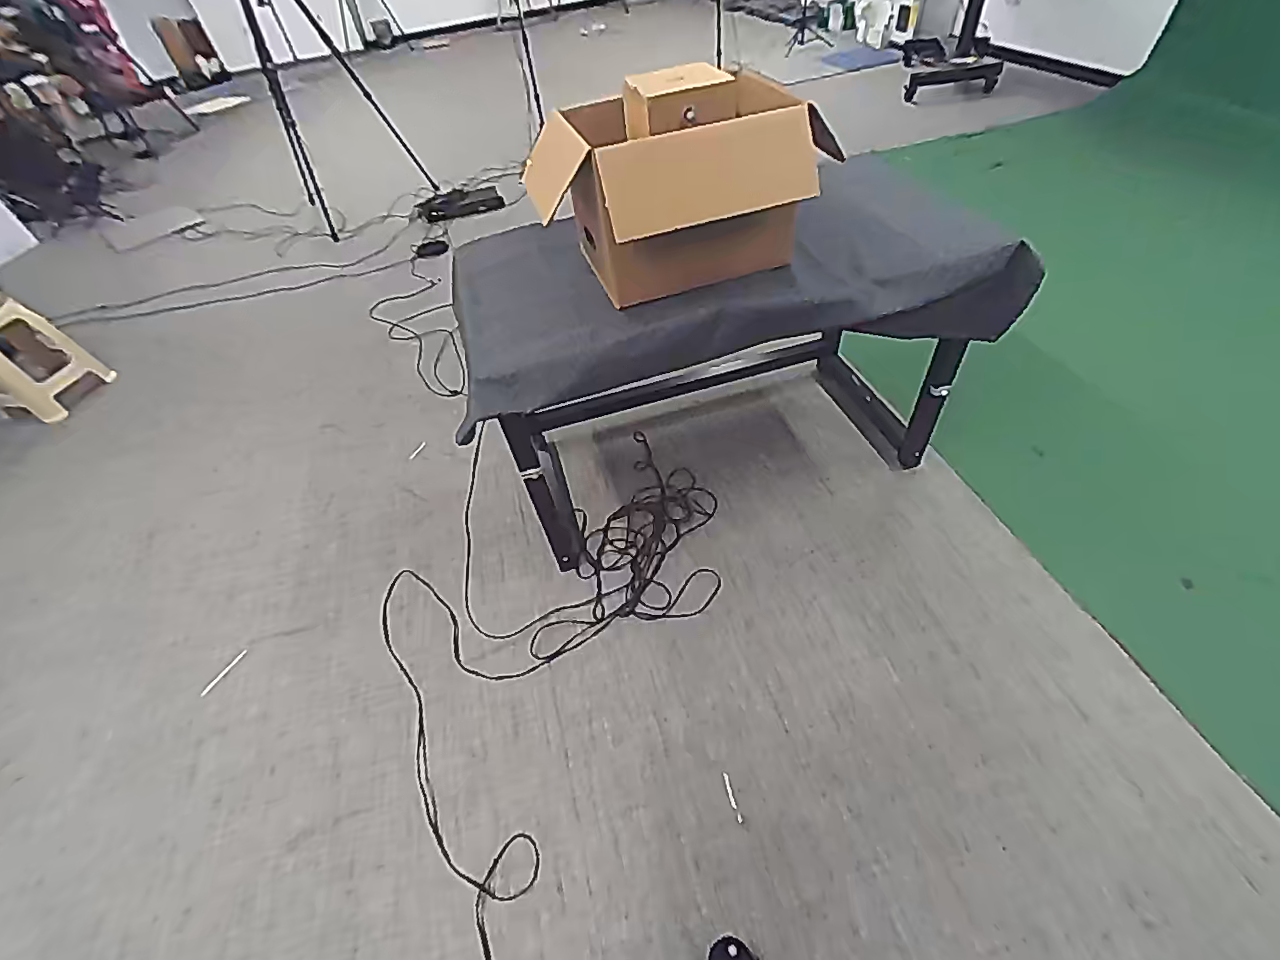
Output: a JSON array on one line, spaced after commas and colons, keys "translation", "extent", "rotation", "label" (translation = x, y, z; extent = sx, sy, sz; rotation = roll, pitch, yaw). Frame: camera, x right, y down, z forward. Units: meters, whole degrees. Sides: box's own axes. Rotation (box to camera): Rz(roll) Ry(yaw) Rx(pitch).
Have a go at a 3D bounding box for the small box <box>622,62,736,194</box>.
[{"translation": [0.076, -0.694, 1.068], "extent": [0.179, 0.176, 0.168], "rotation": [-17, 49, -7], "label": "small box"}]
